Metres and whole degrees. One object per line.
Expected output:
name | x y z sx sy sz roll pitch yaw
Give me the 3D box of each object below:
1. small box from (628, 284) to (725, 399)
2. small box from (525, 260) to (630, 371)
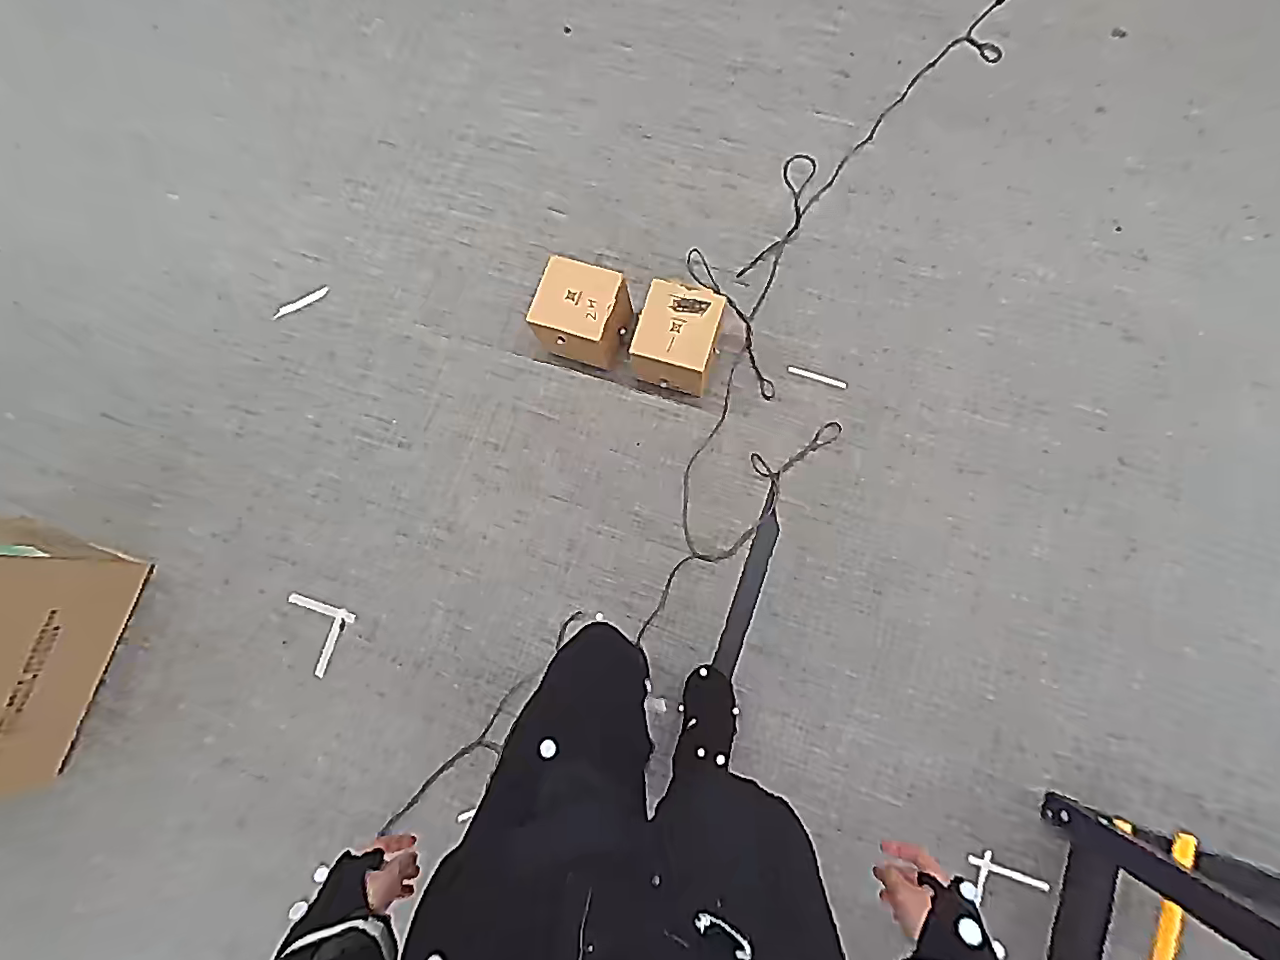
small box | 0.082 -0.305 1.220 0.168 0.176 0.179 17 83 8
small box | -0.137 -0.372 1.251 0.179 0.176 0.168 18 83 8
